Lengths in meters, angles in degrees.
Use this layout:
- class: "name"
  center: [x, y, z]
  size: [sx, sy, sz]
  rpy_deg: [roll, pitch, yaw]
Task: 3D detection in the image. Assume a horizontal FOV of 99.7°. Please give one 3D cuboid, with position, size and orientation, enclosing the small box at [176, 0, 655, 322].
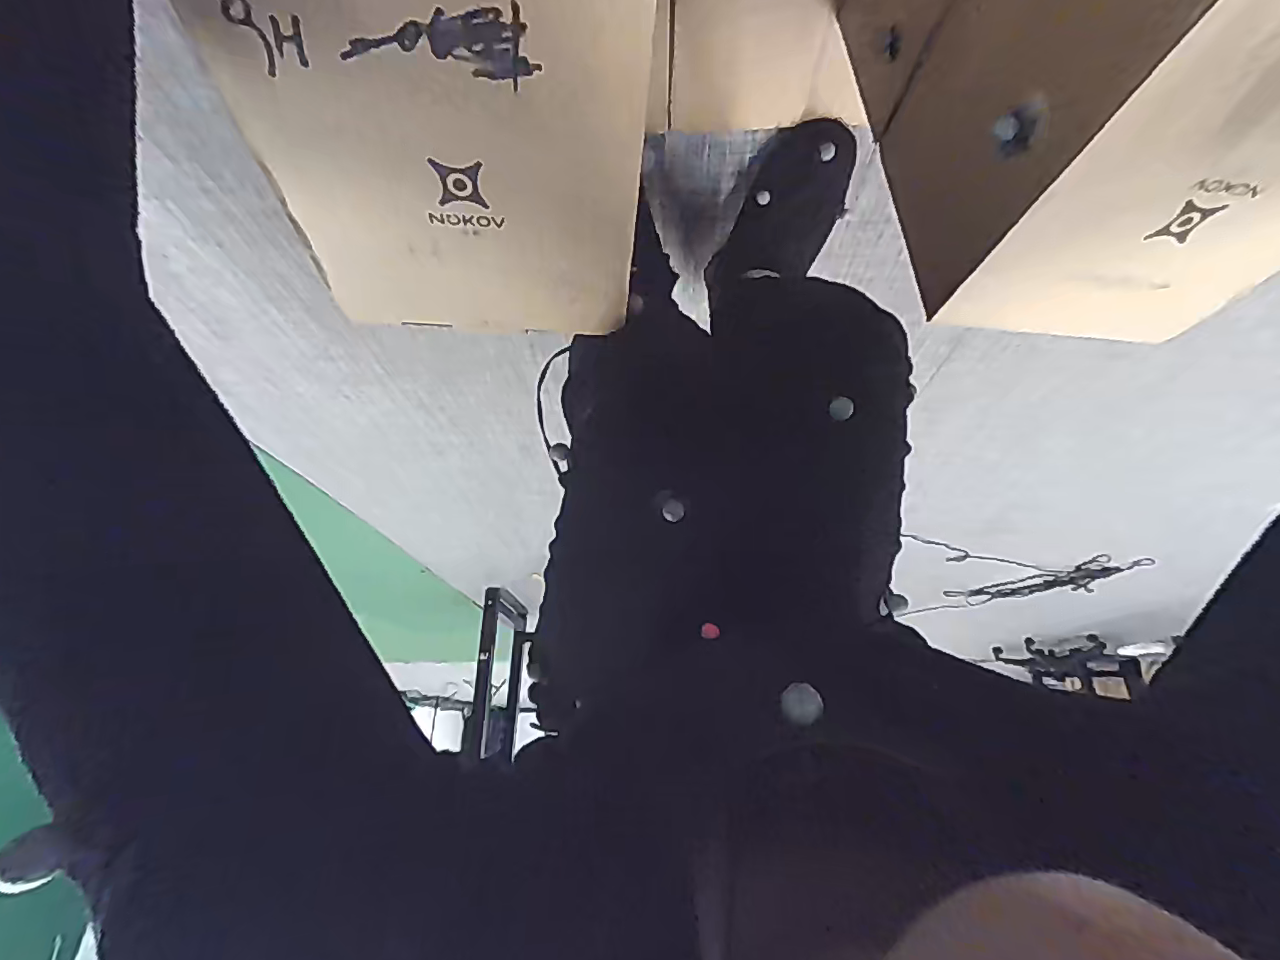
- class: "small box"
  center: [-0.085, -0.209, 0.280]
  size: [0.168, 0.176, 0.179]
  rpy_deg: [1, 154, -6]

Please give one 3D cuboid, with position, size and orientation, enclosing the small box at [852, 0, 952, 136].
- class: "small box"
  center: [0.257, -0.356, 0.354]
  size: [0.168, 0.176, 0.179]
  rpy_deg: [1, 154, -5]

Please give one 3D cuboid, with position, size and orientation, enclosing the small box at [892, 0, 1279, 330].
- class: "small box"
  center: [0.263, -0.207, 0.287]
  size: [0.168, 0.176, 0.179]
  rpy_deg: [3, 156, -8]
